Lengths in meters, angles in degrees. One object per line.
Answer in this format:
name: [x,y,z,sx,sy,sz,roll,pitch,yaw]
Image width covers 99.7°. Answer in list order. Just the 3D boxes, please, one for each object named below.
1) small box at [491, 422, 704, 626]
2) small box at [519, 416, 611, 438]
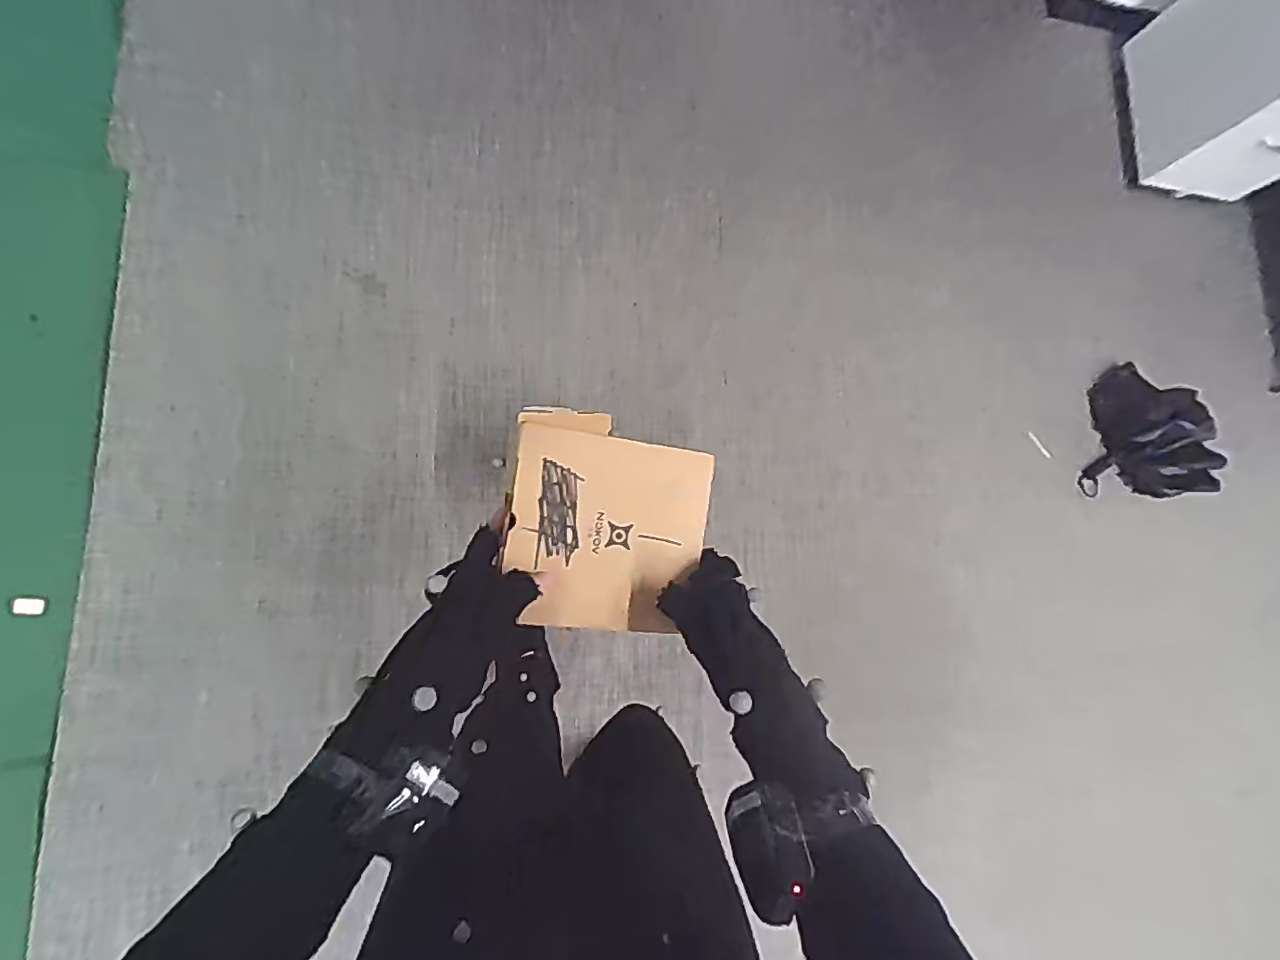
small box: [-0.055,0.043,0.563,0.179,0.176,0.168,9,88,-17]
small box: [-0.146,-0.017,1.024,0.168,0.176,0.179,-1,83,-11]
